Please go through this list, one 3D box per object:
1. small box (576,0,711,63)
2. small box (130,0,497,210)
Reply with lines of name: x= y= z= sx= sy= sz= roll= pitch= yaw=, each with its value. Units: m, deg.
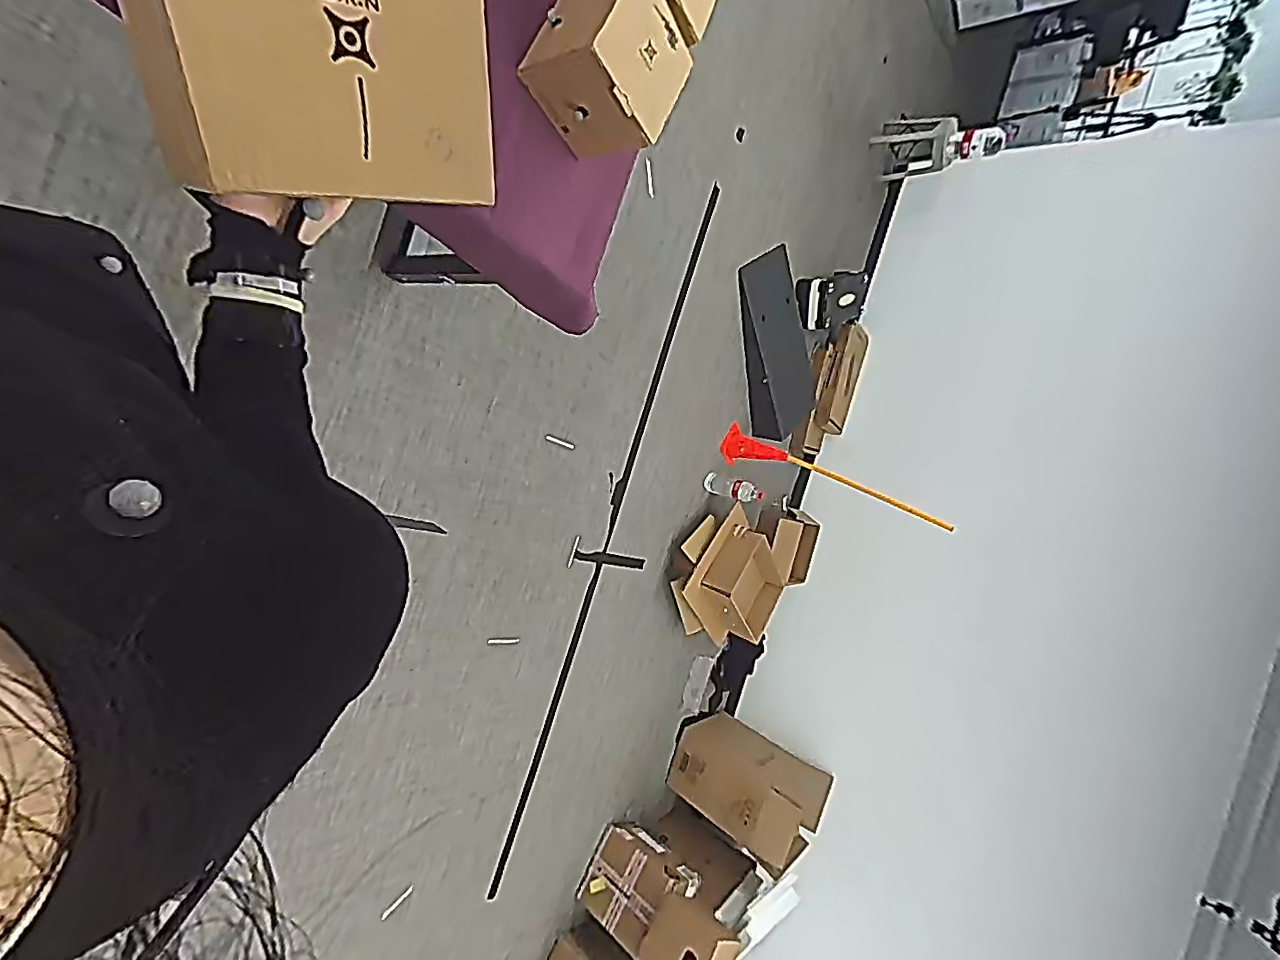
small box: x=0.008 y=-0.826 z=0.867 sx=0.168 sy=0.176 sz=0.179 roll=26 pitch=82 yaw=-53
small box: x=-0.214 y=-0.280 z=0.356 sx=0.168 sy=0.176 sz=0.179 roll=-21 pitch=126 yaw=-39
